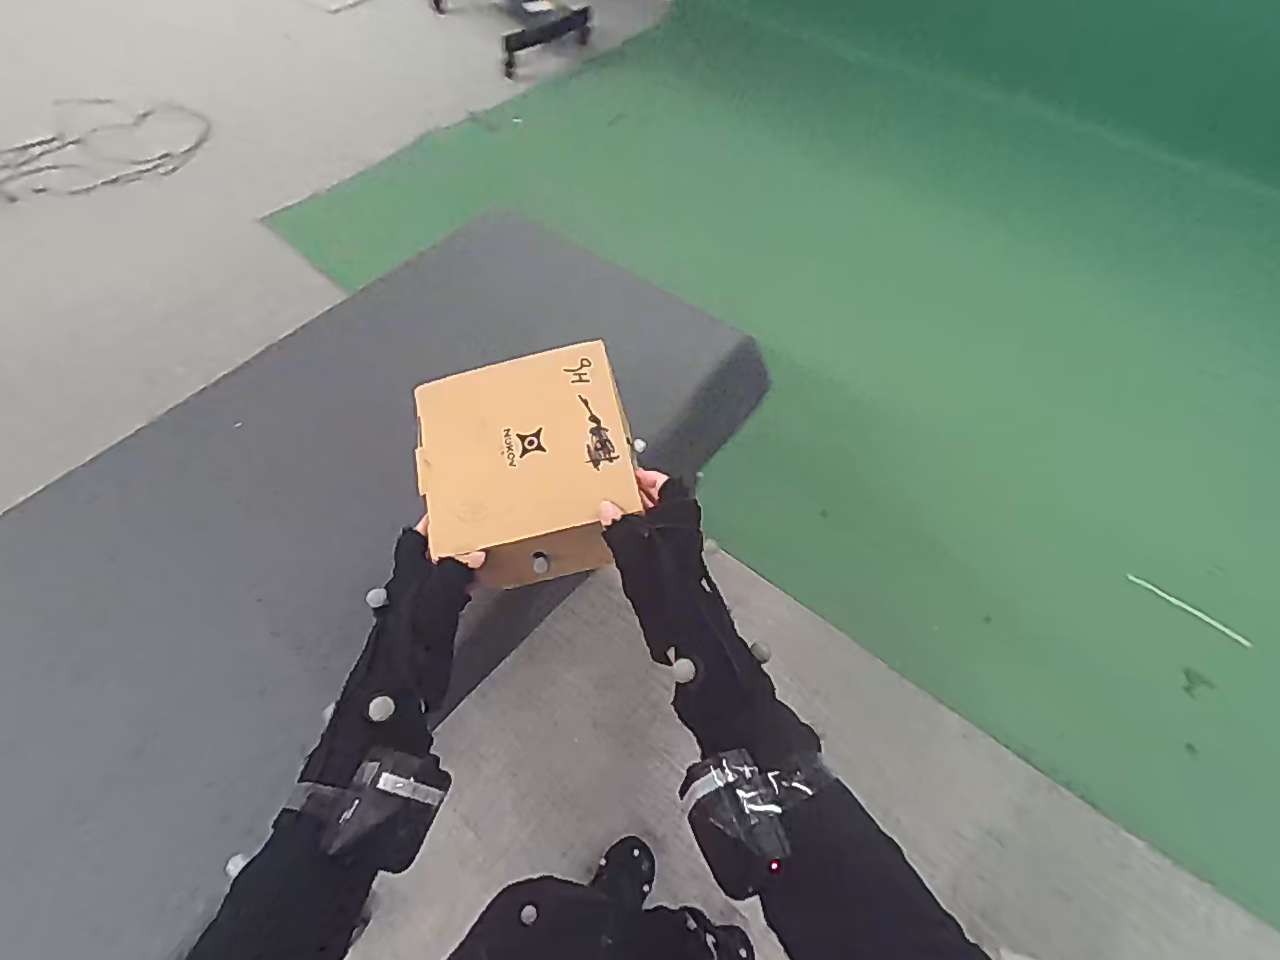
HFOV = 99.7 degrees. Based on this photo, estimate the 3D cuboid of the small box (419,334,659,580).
[{"bbox_3d":[-0.087,-0.008,0.523,0.179,0.176,0.168,-13,71,3],"label":"small box"}]
